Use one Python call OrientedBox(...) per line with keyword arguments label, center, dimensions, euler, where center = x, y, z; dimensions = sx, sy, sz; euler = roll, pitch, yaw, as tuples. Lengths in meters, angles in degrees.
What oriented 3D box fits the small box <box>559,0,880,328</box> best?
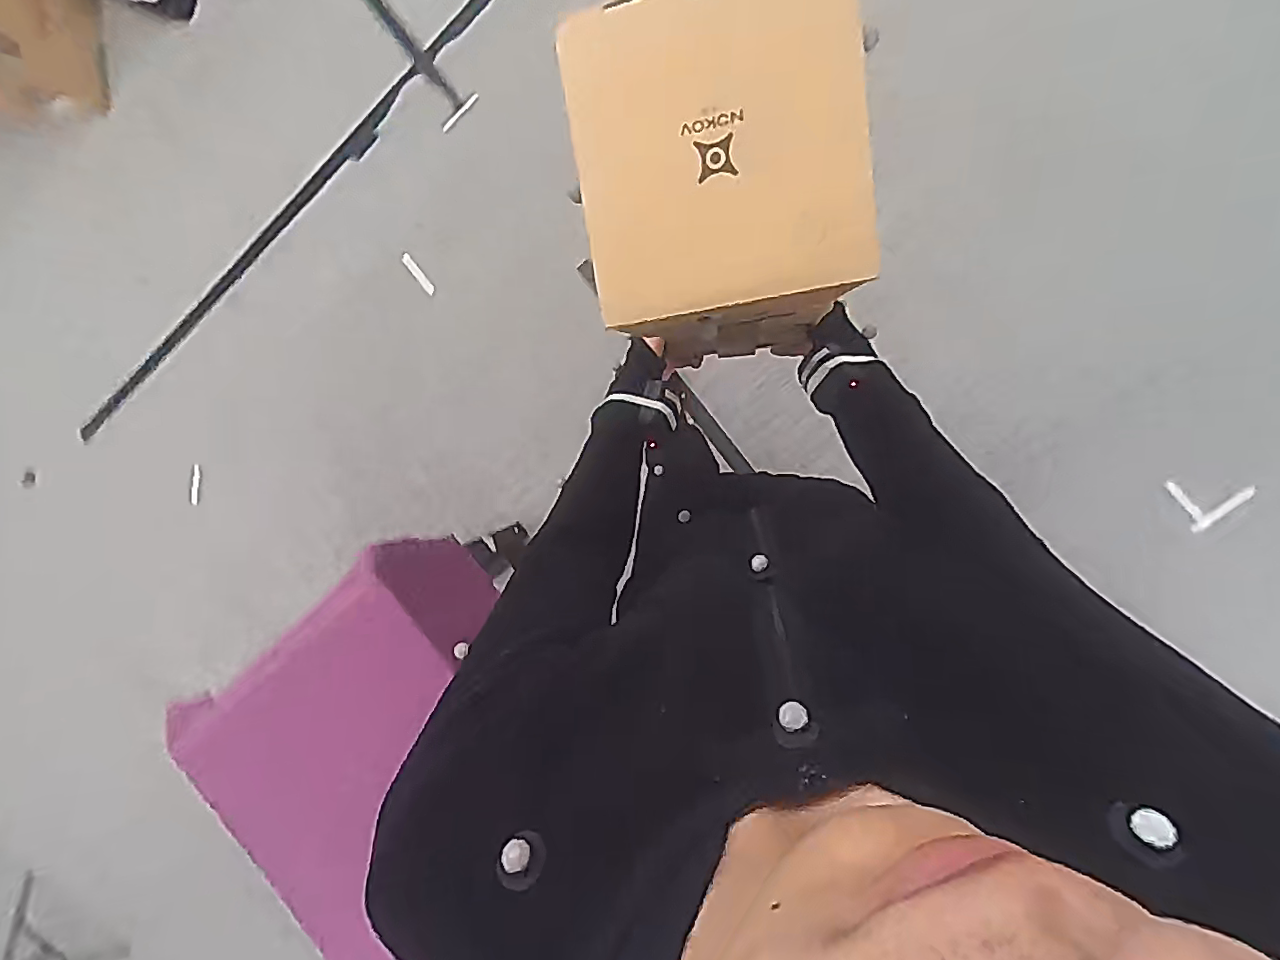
OrientedBox(label="small box", center=(0.060, -0.207, 0.380), dimensions=(0.168, 0.176, 0.179), euler=(-7, 100, 12))
